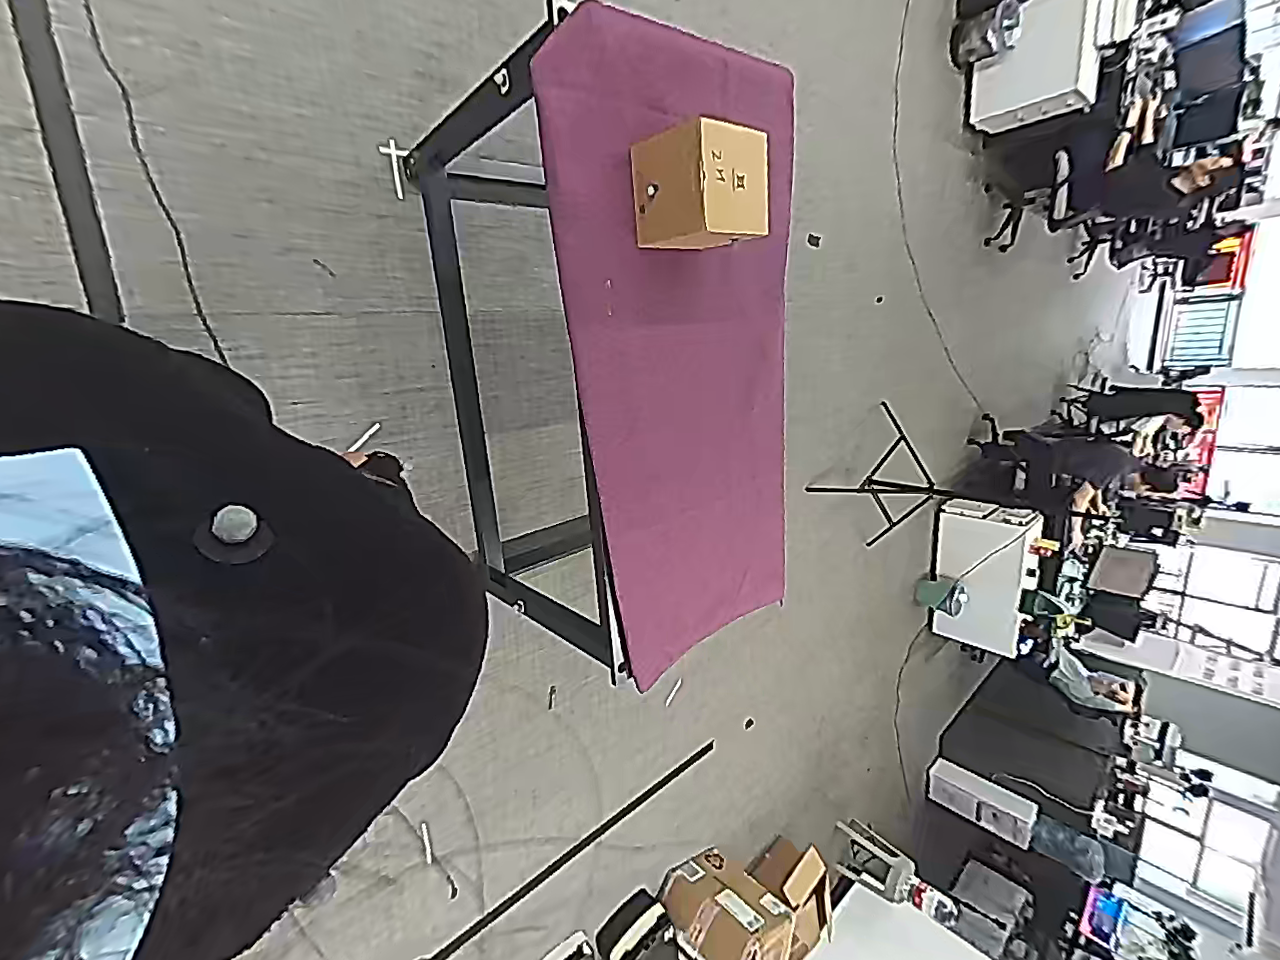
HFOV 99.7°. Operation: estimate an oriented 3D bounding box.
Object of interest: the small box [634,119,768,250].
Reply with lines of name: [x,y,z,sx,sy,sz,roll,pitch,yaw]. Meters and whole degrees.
small box: [0.110,-0.513,0.967,0.179,0.176,0.168,-18,111,-38]
